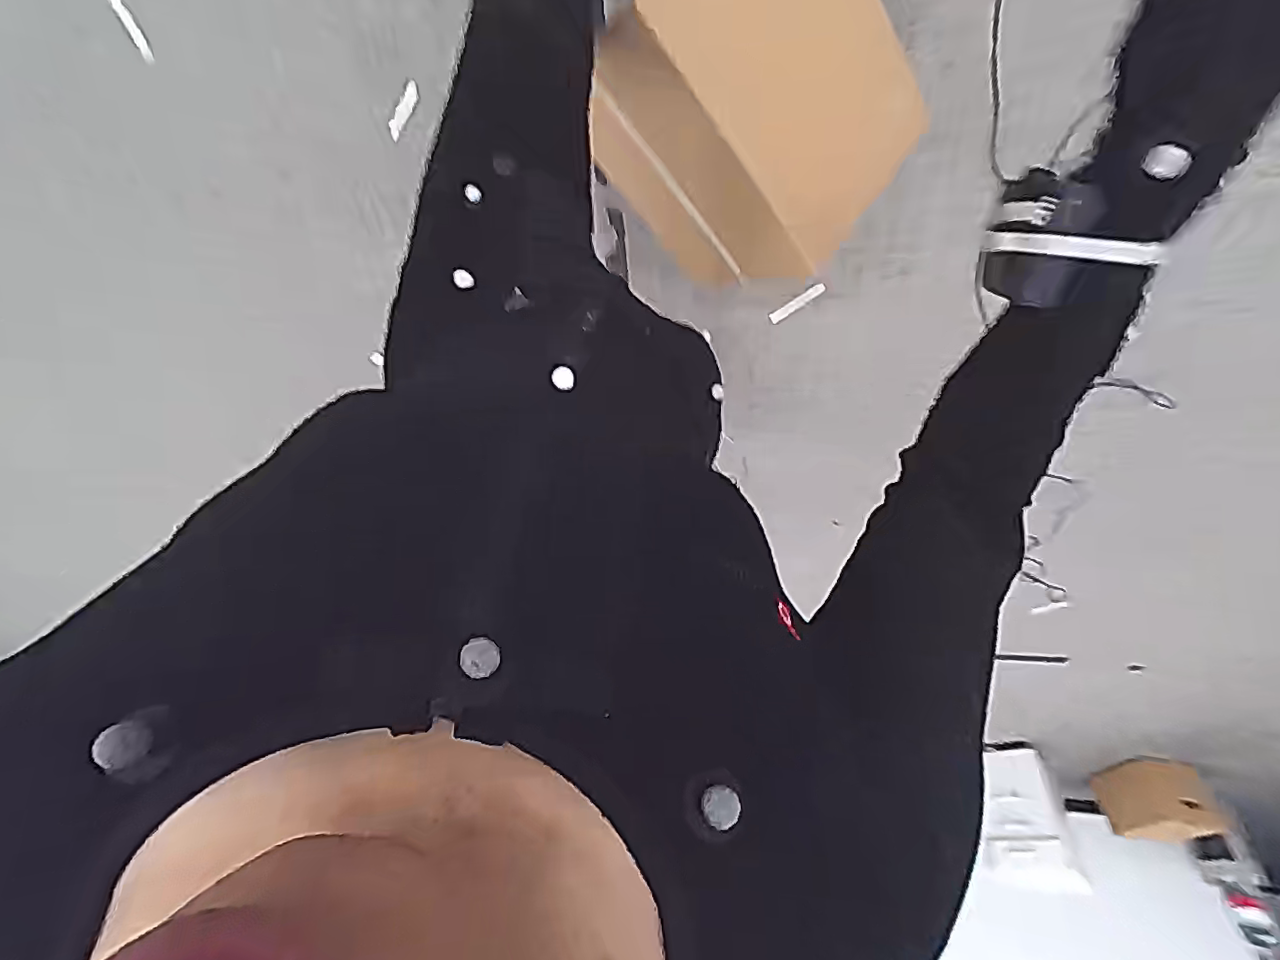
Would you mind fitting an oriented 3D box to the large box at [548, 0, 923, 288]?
[{"bbox_3d":[0.138,-0.563,0.822,0.408,0.320,0.320,41,173,-30],"label":"large box"}]
